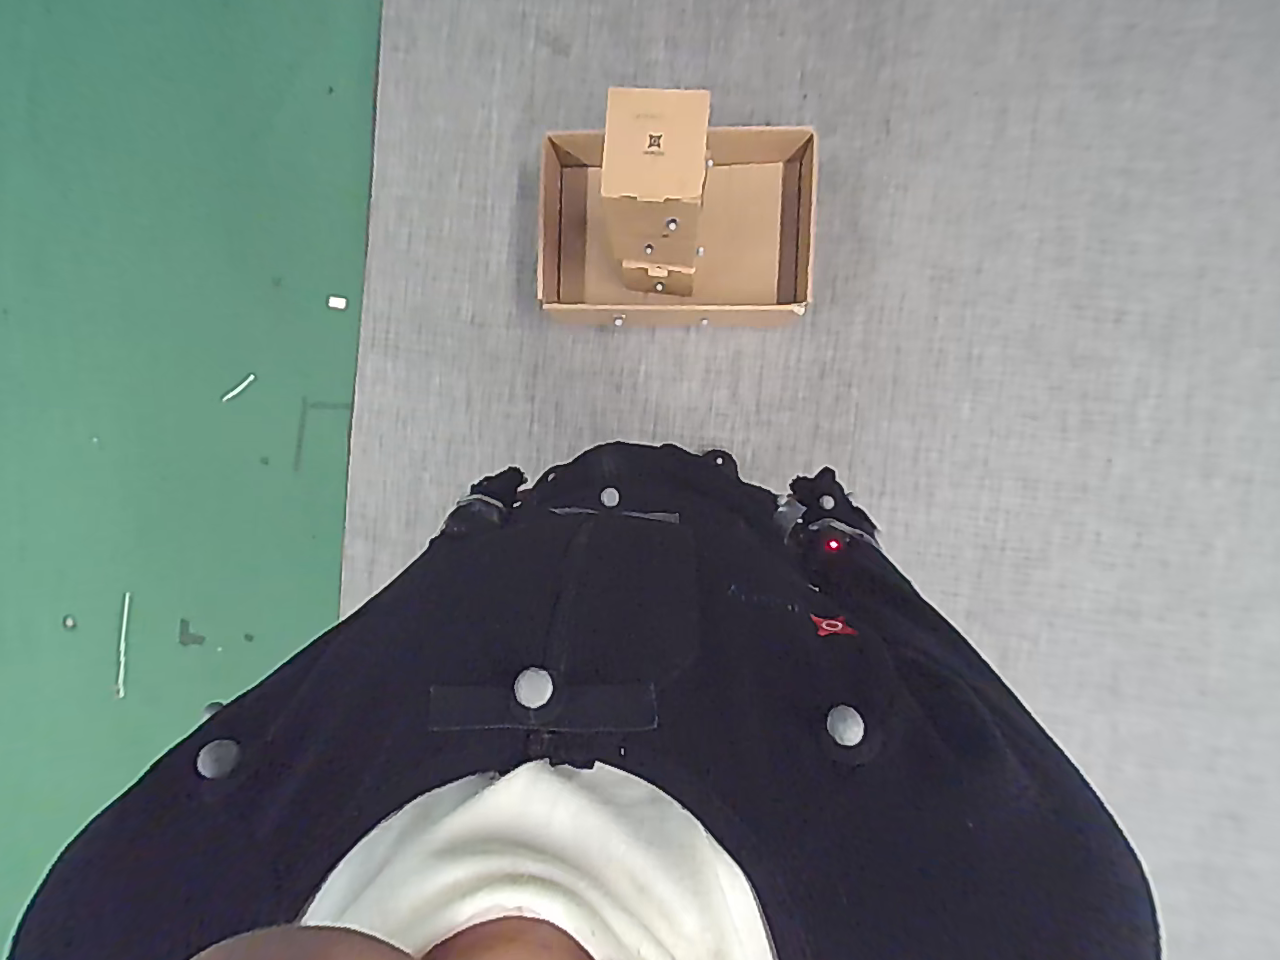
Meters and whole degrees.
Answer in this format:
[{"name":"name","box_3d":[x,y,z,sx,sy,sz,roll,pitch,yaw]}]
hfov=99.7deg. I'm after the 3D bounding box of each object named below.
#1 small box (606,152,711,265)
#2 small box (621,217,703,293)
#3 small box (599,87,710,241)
[{"name":"small box","box_3d":[0.041,-0.557,1.107,0.179,0.176,0.168,11,93,5]},{"name":"small box","box_3d":[0.056,-0.554,1.271,0.168,0.176,0.179,8,94,4]},{"name":"small box","box_3d":[0.027,-0.540,0.946,0.168,0.176,0.179,5,91,3]}]
